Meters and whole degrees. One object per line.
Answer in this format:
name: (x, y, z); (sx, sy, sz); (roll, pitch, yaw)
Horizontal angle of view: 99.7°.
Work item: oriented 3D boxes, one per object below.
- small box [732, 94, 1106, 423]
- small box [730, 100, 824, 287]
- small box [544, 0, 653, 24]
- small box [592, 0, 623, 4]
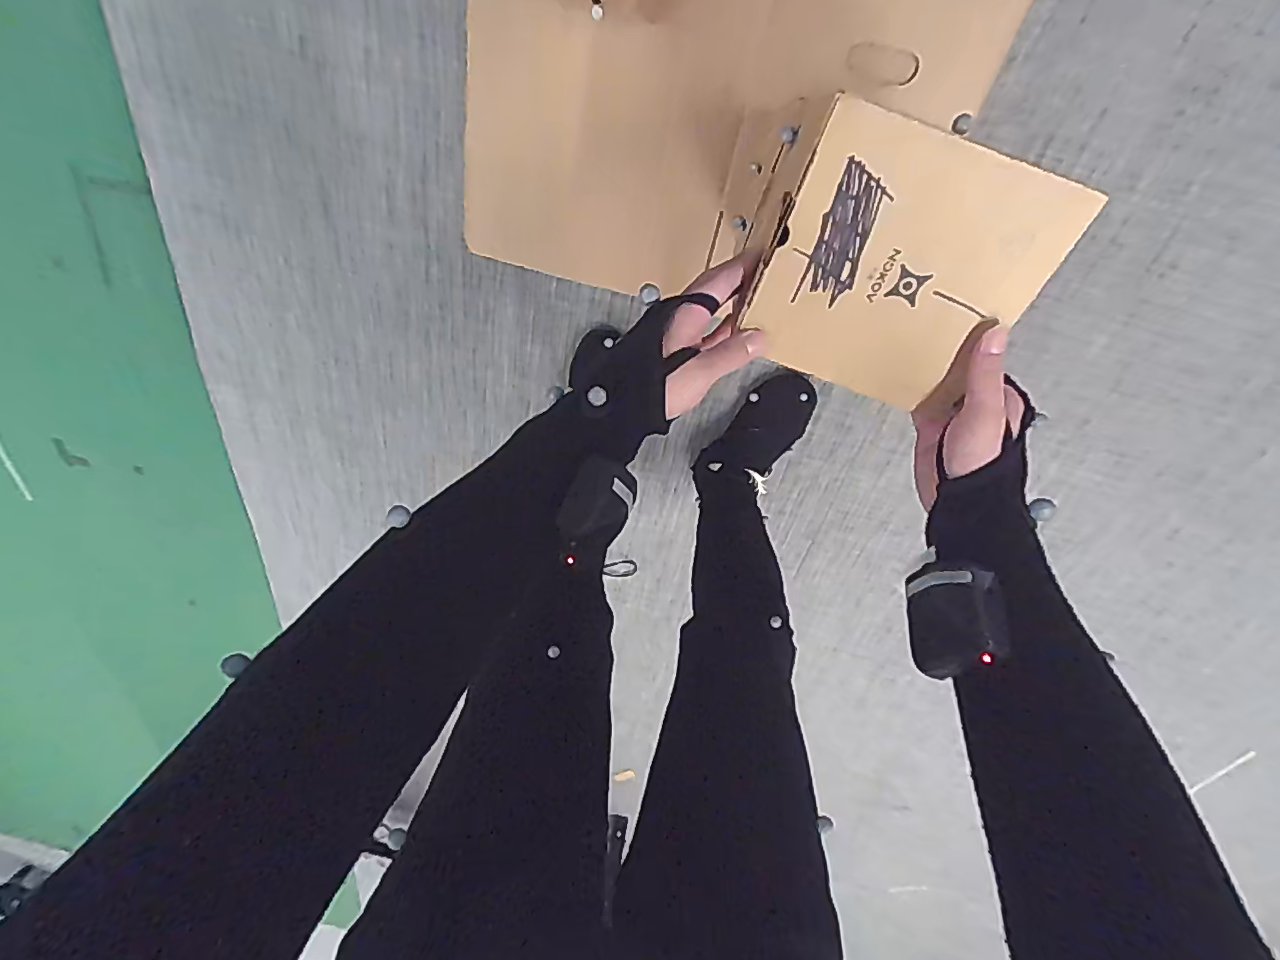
small box: (0.185, -0.177, 0.427); (0.179, 0.176, 0.168); (19, 126, -3)
small box: (0.208, -0.278, 0.577); (0.179, 0.176, 0.168); (19, 125, -2)
small box: (-0.062, -0.627, 0.590); (0.179, 0.176, 0.168); (15, 124, 0)
small box: (-0.081, -0.536, 0.458); (0.179, 0.176, 0.168); (16, 125, 1)
